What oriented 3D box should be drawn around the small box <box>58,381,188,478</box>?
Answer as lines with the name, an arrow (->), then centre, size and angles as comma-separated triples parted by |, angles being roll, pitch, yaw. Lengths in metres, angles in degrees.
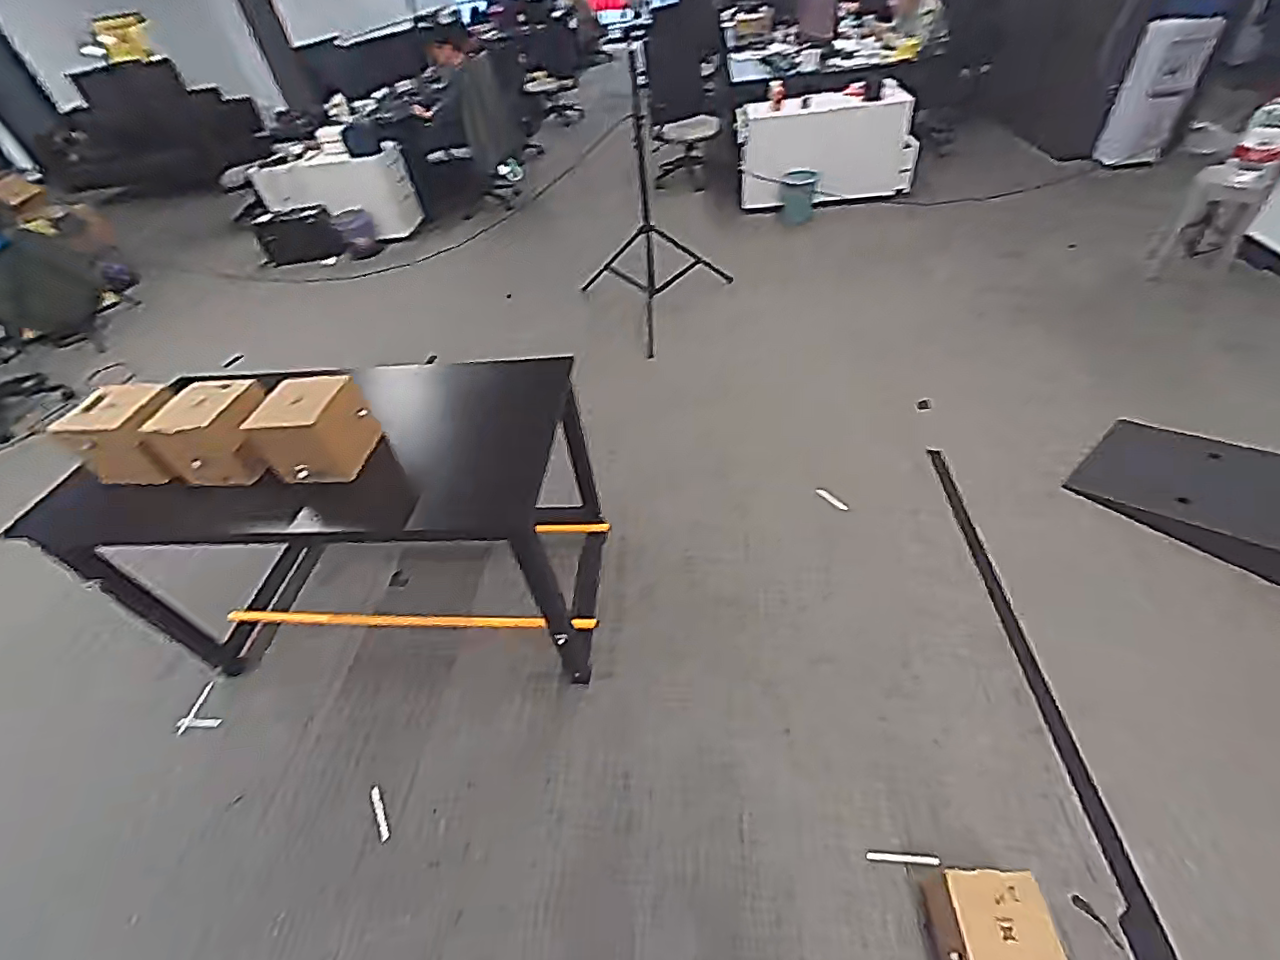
small box -> -1.173, -0.117, 1.280 | 0.179, 0.176, 0.168 | 0, 46, 7

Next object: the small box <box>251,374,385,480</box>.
small box -> -0.707, -0.118, 1.216 | 0.168, 0.176, 0.179 | -2, 46, 8

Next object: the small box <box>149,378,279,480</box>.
small box -> -0.944, -0.114, 1.244 | 0.168, 0.176, 0.179 | 0, 46, 7

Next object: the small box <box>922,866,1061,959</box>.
small box -> 0.675, 0.877, 1.051 | 0.168, 0.176, 0.179 | -2, 45, 7
